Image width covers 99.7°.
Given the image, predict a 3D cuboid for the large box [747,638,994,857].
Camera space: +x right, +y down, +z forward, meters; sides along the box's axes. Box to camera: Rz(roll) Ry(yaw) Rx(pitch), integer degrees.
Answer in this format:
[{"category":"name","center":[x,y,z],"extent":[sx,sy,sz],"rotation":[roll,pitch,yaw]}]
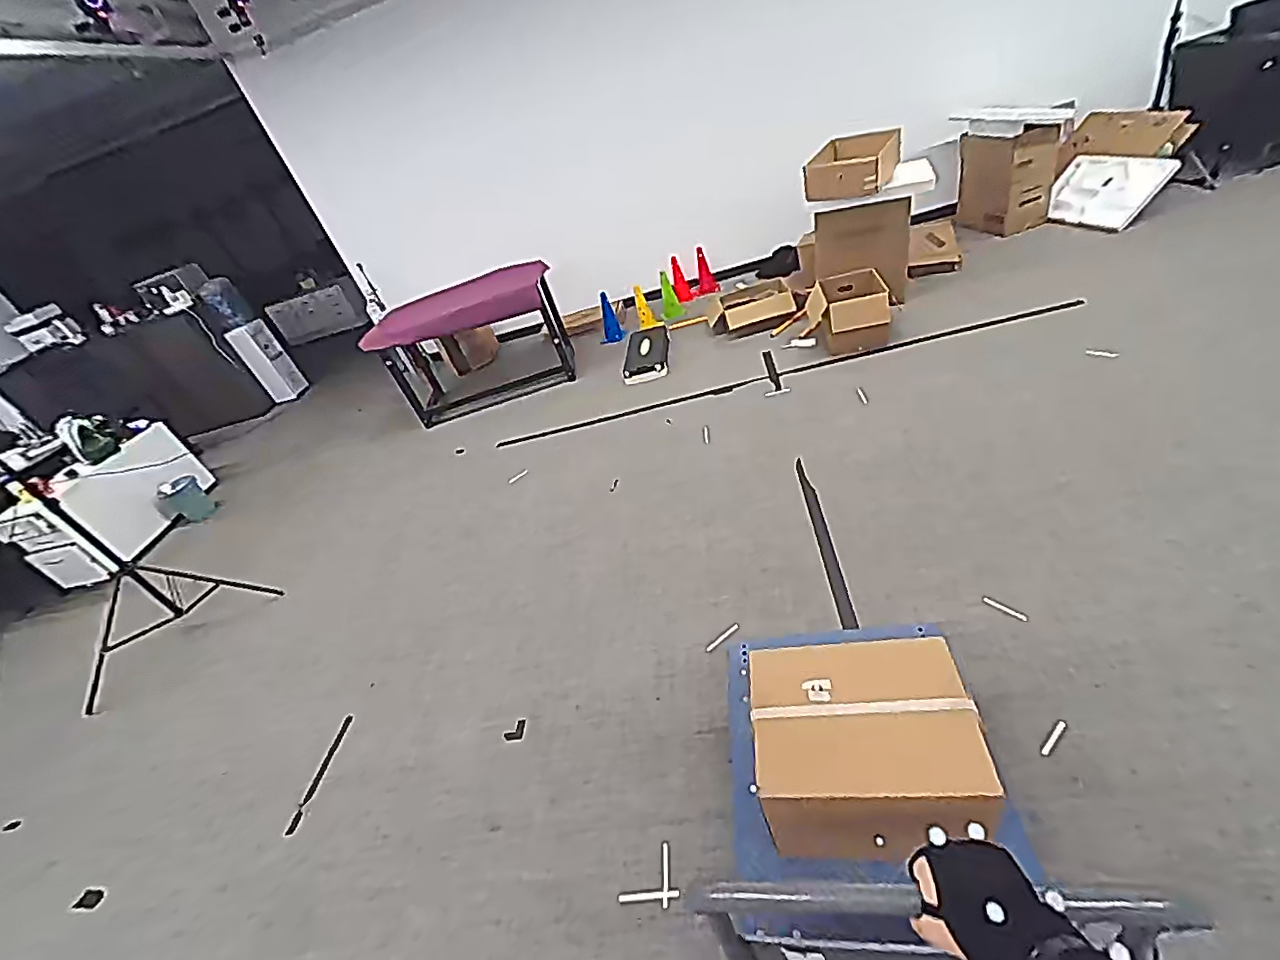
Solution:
[{"category":"large box","center":[0.465,0.576,1.153],"extent":[0.408,0.320,0.320],"rotation":[-11,35,15]}]
